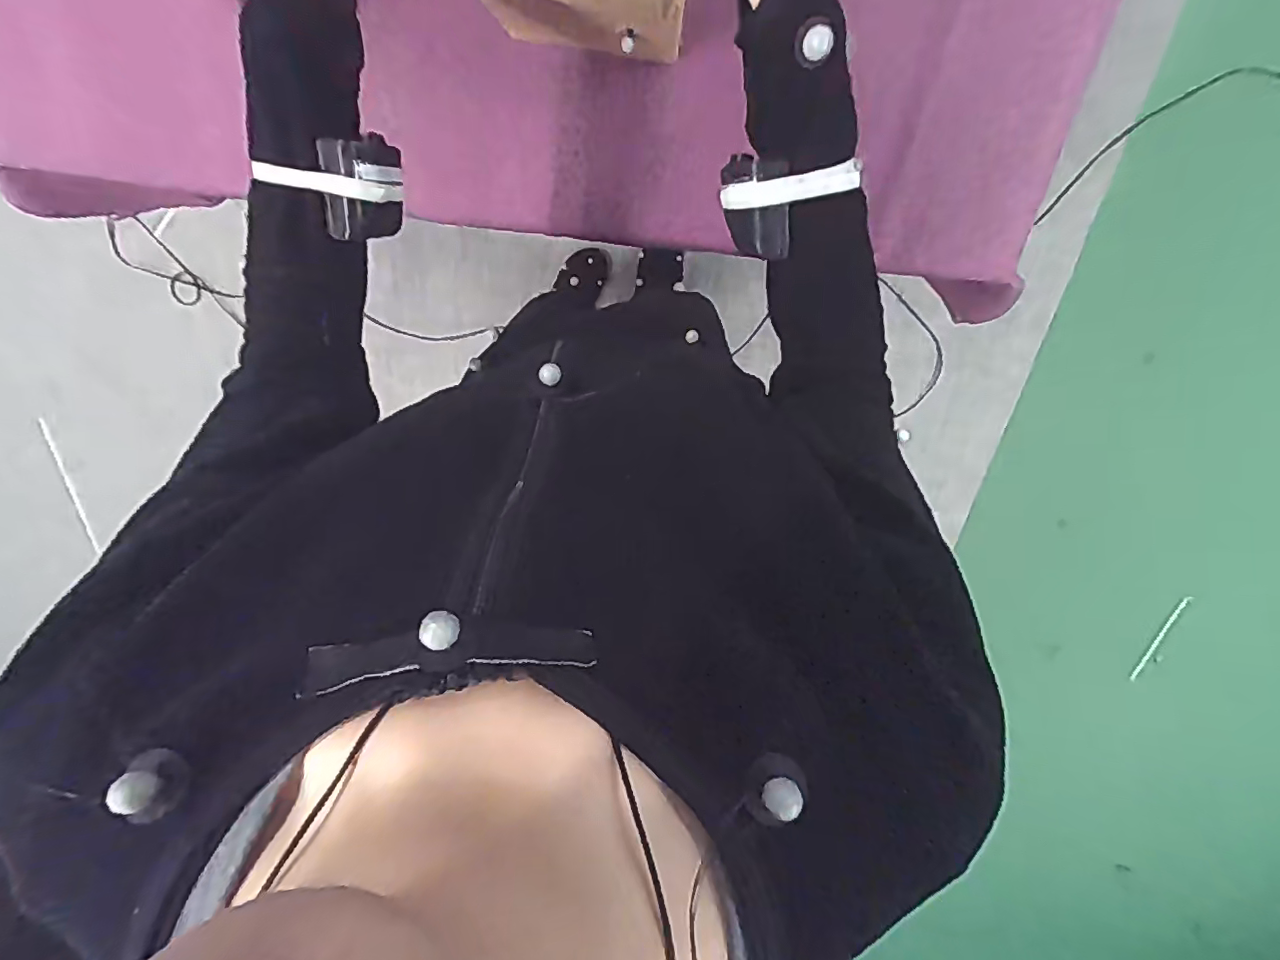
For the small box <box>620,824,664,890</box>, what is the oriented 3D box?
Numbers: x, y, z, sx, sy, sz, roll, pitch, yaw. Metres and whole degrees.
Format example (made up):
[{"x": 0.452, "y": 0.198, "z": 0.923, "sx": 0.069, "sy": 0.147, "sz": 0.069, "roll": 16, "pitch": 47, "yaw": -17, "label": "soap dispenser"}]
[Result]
[{"x": 0.009, "y": 1.580, "z": 2.271, "sx": 0.179, "sy": 0.176, "sz": 0.168, "roll": 2, "pitch": 116, "yaw": 0, "label": "small box"}]

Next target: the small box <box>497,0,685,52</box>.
[{"x": -0.037, "y": -0.497, "z": 0.463, "sx": 0.179, "sy": 0.176, "sz": 0.168, "roll": 8, "pitch": 115, "yaw": -1, "label": "small box"}]
